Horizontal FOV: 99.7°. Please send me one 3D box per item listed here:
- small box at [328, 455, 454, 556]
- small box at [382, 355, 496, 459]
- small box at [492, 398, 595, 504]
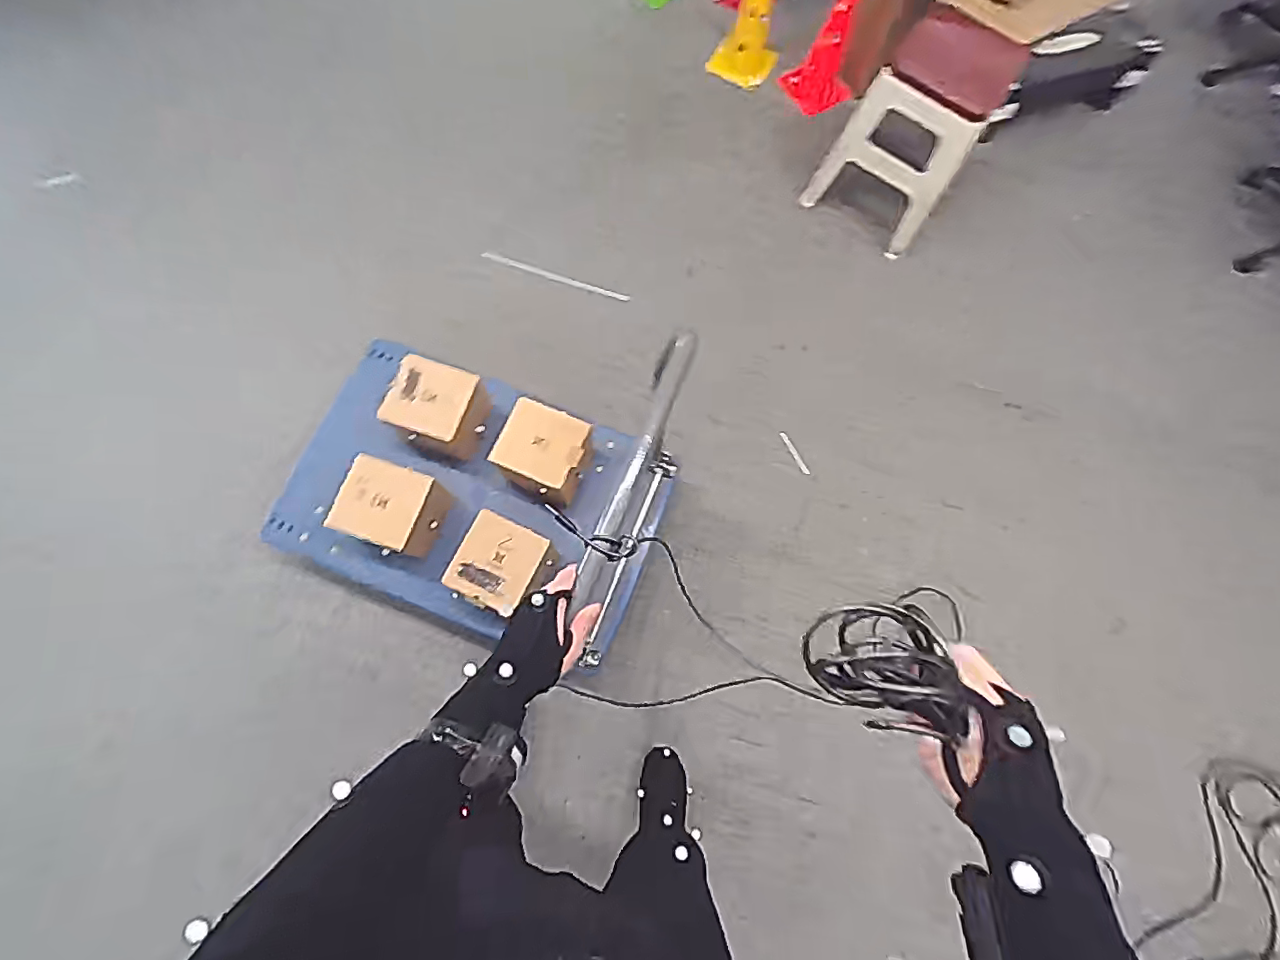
[{"bbox_3d":[-0.545,0.066,1.215,0.179,0.176,0.168,19,74,2],"label":"small box"},{"bbox_3d":[-0.465,-0.164,1.279,0.179,0.176,0.168,19,76,2],"label":"small box"},{"bbox_3d":[-0.216,-0.059,1.265,0.179,0.176,0.168,24,76,3],"label":"small box"}]
